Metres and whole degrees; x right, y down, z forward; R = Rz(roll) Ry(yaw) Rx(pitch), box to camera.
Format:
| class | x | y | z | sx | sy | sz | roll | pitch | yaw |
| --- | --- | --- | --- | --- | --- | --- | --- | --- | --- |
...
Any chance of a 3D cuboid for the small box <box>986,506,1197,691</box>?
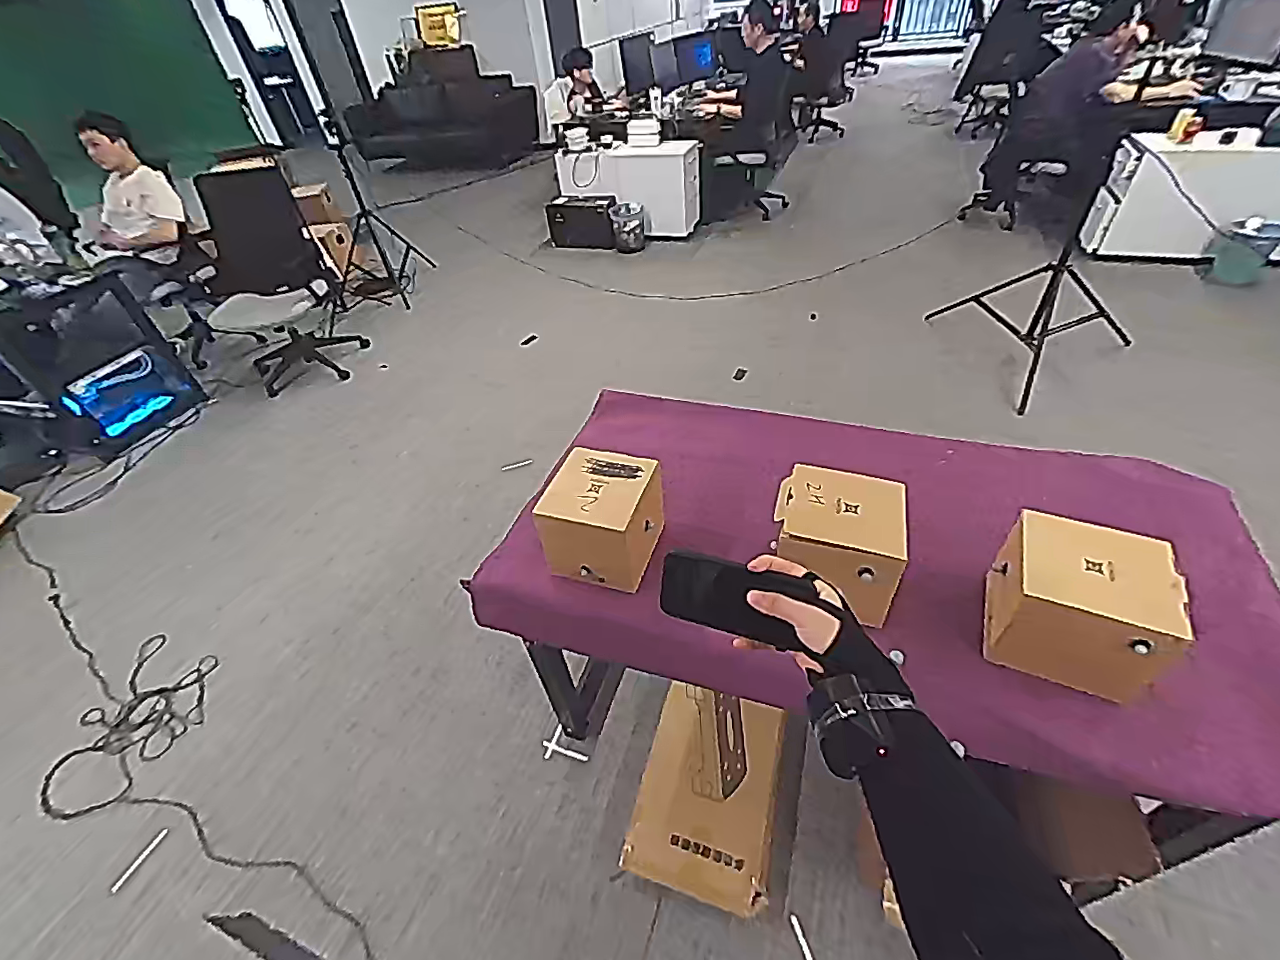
| class | x | y | z | sx | sy | sz | roll | pitch | yaw |
| --- | --- | --- | --- | --- | --- | --- | --- | --- | --- |
| small box | 0.613 | 0.167 | 0.764 | 0.179 | 0.176 | 0.168 | 15 | 47 | 22 |

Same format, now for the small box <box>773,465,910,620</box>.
| class | x | y | z | sx | sy | sz | roll | pitch | yaw |
| --- | --- | --- | --- | --- | --- | --- | --- | --- | --- |
| small box | 0.320 | 0.101 | 0.873 | 0.179 | 0.176 | 0.168 | 9 | 43 | 17 |
